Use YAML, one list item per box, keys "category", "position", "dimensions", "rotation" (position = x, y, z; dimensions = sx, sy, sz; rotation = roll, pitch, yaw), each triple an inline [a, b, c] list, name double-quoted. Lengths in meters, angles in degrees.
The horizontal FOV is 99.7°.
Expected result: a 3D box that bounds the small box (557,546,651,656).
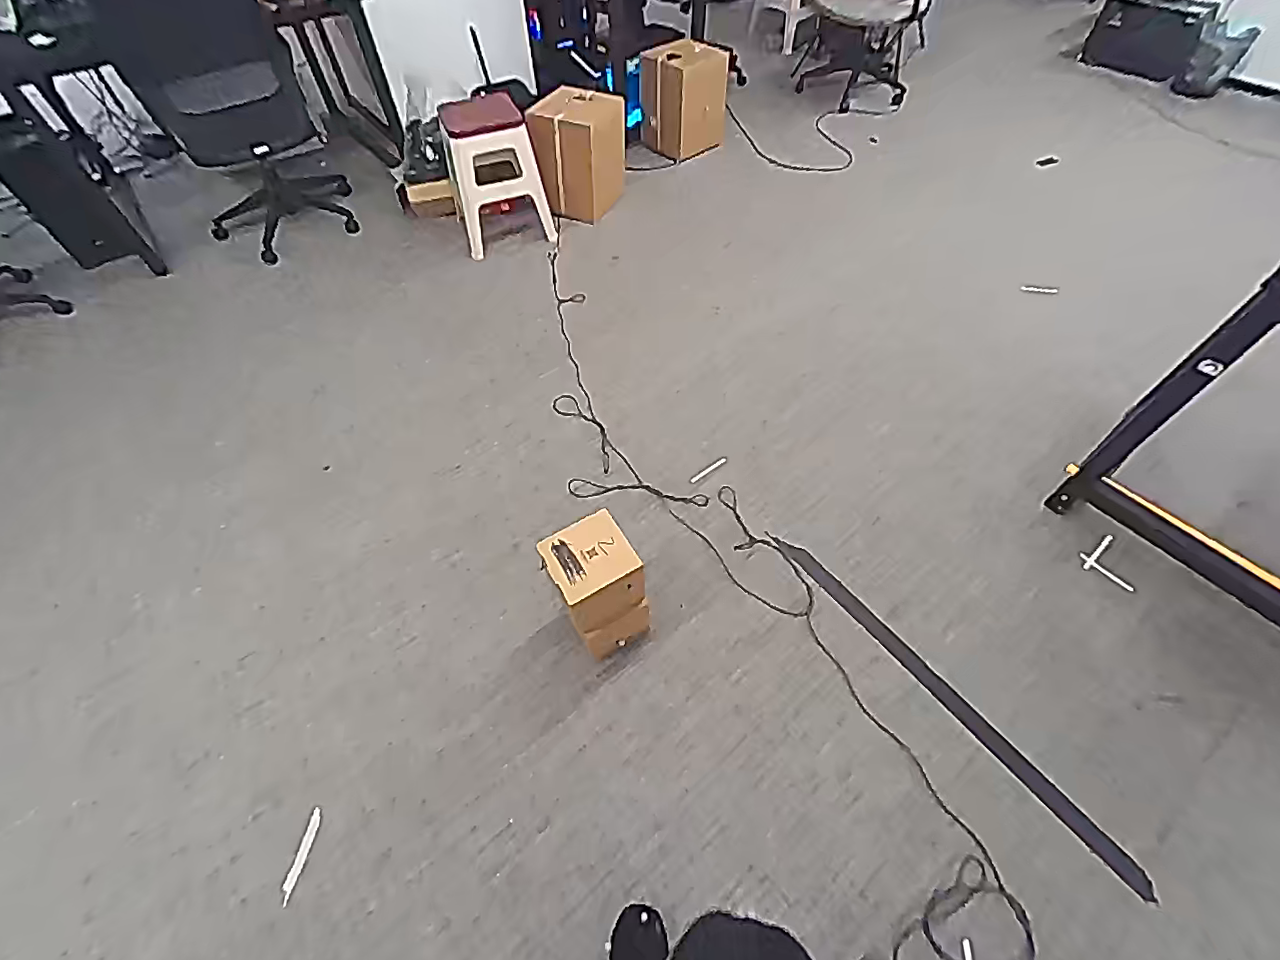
- category: "small box"
  position: [-0.087, 0.300, 1.324]
  dimensions: [0.168, 0.176, 0.179]
  rotation: [-27, 60, -16]
